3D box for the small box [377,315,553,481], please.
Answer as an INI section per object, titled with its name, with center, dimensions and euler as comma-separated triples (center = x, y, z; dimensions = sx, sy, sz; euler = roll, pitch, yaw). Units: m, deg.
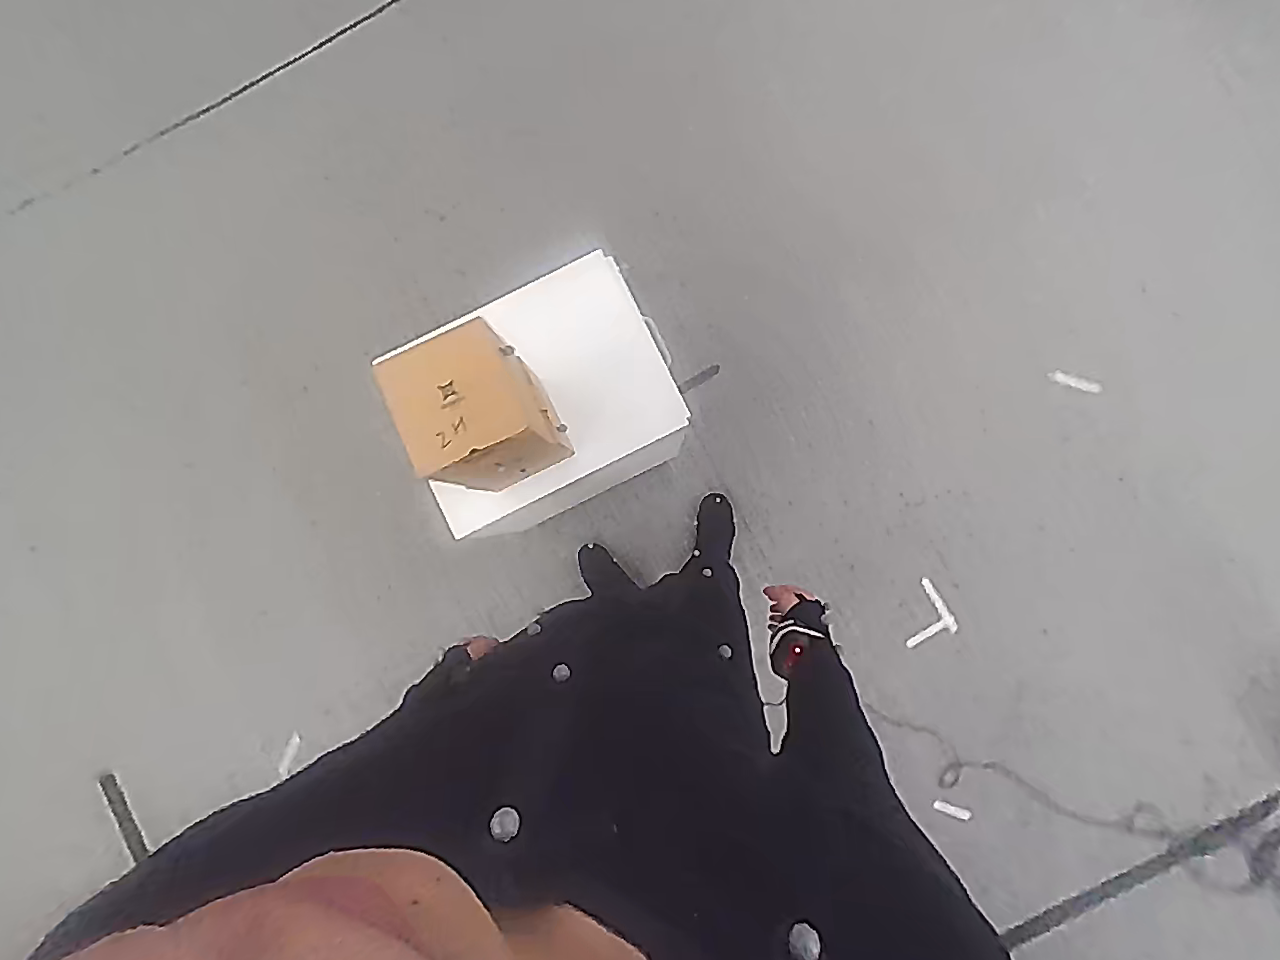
[small box]
center = -0.249, -0.110, 0.808
dimensions = 0.168, 0.176, 0.179
euler = -25, 86, 1
